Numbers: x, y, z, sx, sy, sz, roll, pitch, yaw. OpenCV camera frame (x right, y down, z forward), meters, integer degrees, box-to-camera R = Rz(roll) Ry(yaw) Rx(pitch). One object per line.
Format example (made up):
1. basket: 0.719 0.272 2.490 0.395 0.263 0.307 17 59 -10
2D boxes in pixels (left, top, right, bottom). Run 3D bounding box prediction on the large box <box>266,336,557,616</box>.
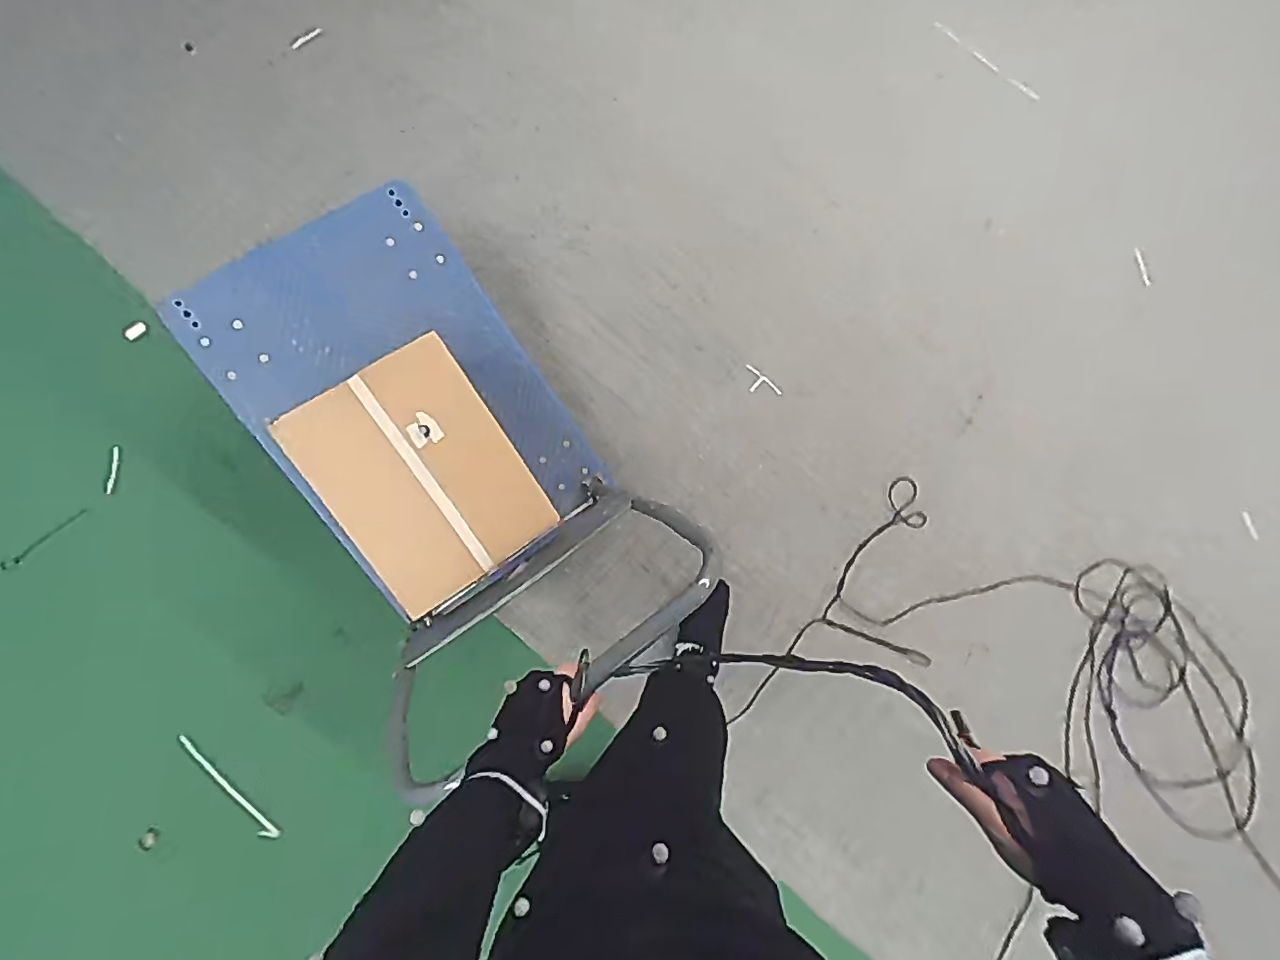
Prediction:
1. large box: -0.417 -0.010 1.081 0.320 0.320 0.408 -35 100 -12
